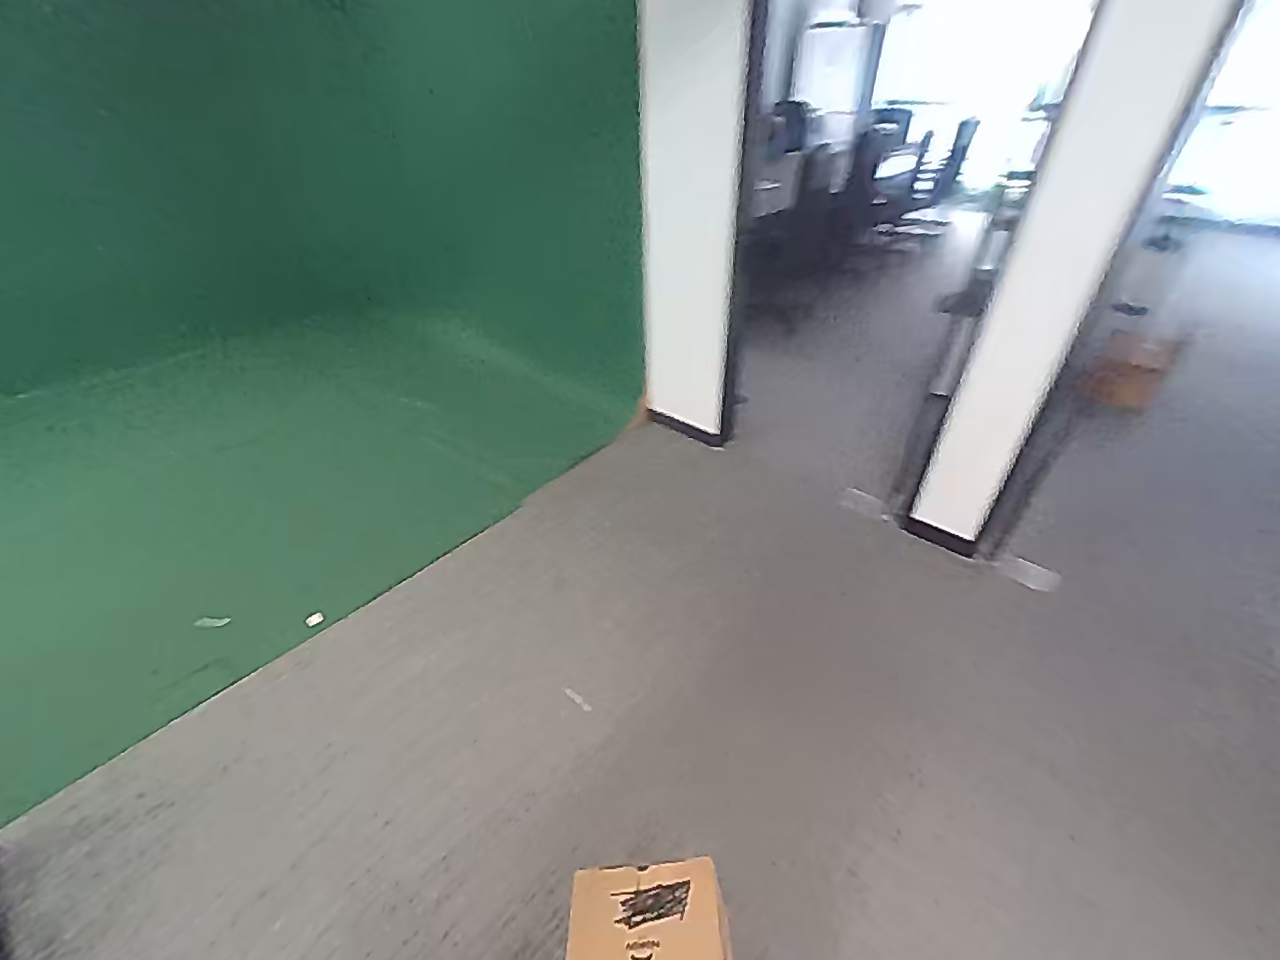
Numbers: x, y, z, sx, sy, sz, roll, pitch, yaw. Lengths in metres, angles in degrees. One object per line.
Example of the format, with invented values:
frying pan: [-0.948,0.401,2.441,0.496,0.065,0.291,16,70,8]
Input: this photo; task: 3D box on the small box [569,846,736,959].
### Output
small box: [0.021,0.547,0.595,0.168,0.176,0.179,-10,30,5]
